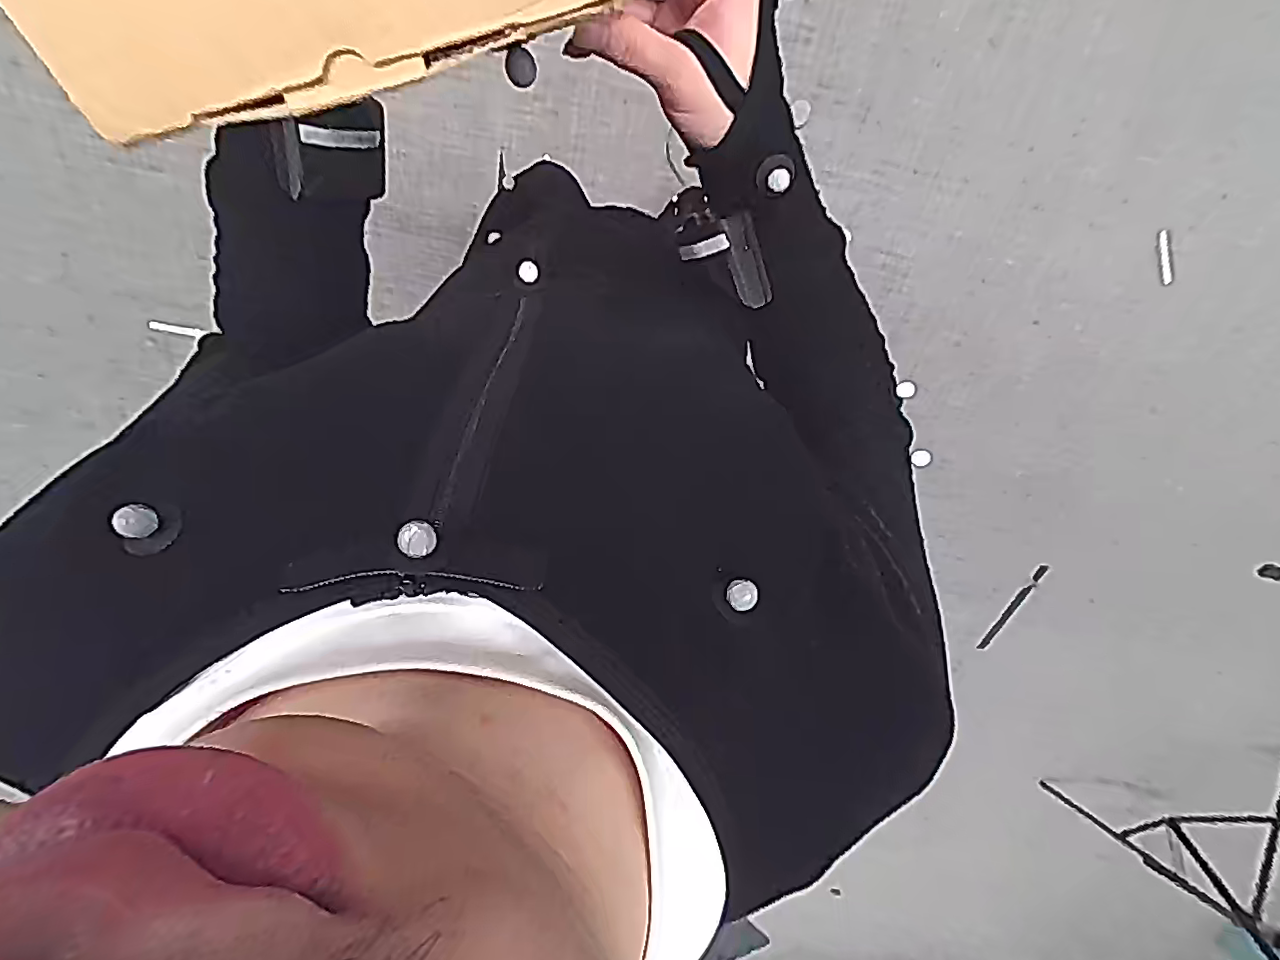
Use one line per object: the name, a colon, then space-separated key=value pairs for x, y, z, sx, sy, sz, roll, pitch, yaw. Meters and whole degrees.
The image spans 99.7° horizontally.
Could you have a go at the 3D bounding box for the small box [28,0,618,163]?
small box: x=-0.103 y=-0.235 z=0.175 sx=0.168 sy=0.176 sz=0.179 roll=-10 pitch=130 yaw=8
